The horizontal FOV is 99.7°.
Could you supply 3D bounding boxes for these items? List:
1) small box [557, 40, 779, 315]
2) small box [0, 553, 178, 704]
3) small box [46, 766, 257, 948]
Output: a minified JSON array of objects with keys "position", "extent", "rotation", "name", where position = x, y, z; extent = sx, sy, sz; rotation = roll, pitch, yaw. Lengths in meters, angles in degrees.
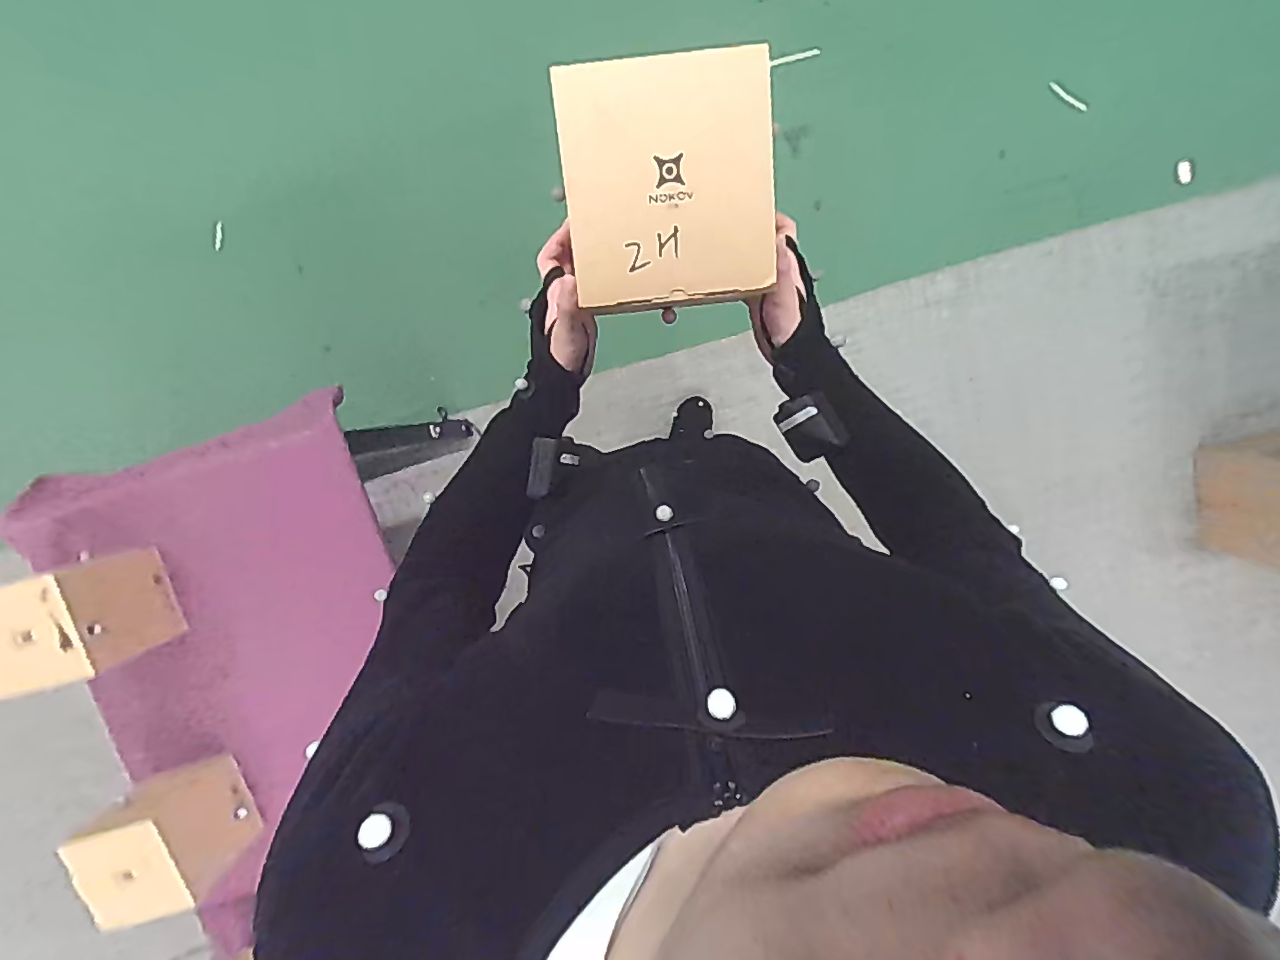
[{"position":[0.023,-0.250,0.490],"extent":[0.168,0.176,0.179],"rotation":[-4,104,1],"name":"small box"},{"position":[-0.913,0.232,0.869],"extent":[0.179,0.176,0.168],"rotation":[-14,98,5],"name":"small box"},{"position":[-0.812,0.628,0.918],"extent":[0.179,0.176,0.168],"rotation":[-18,97,4],"name":"small box"}]
